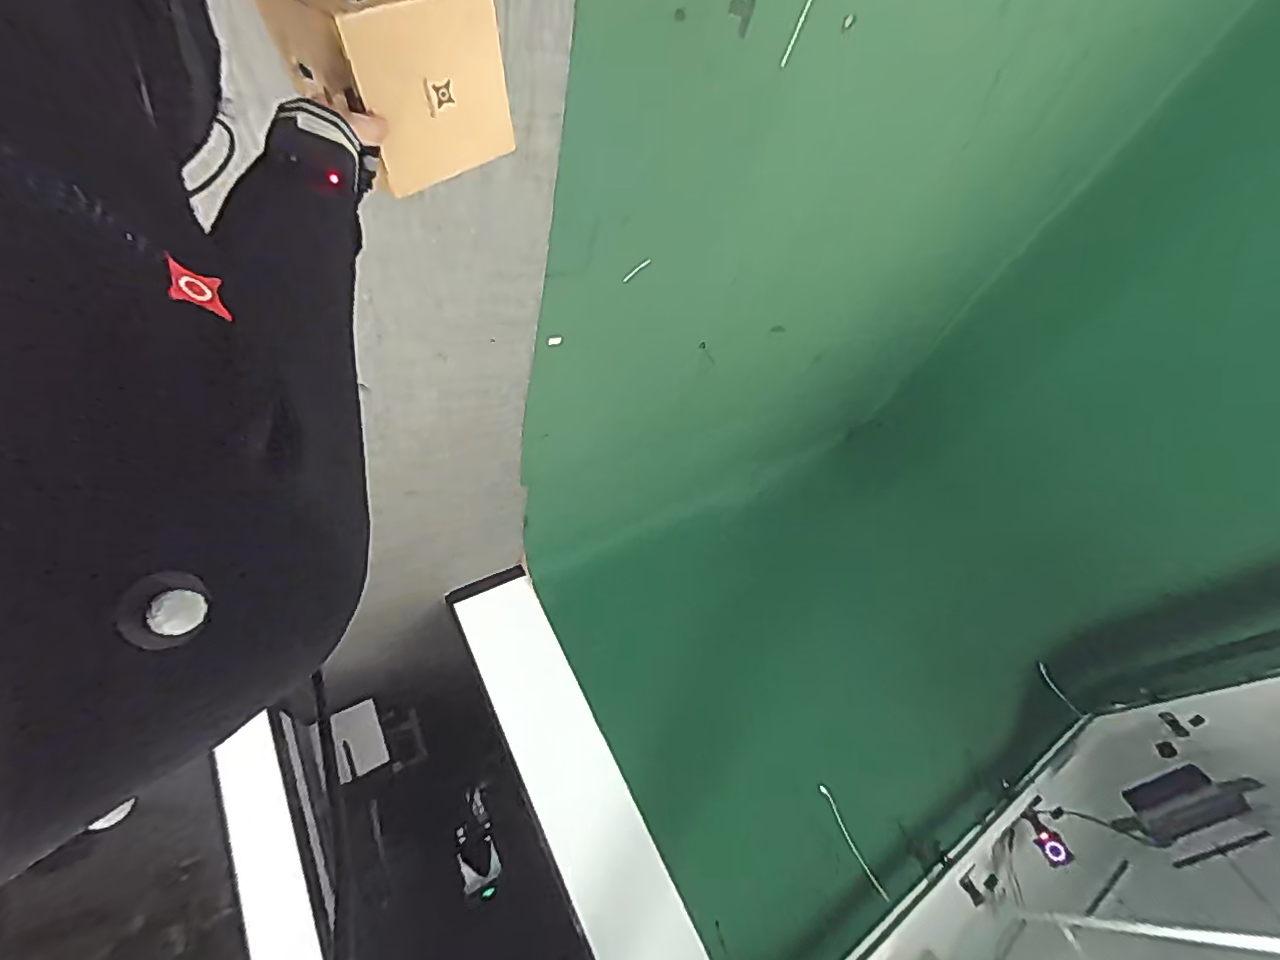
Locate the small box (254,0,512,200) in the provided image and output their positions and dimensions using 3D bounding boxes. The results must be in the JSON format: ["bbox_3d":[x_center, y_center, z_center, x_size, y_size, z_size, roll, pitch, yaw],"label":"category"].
[{"bbox_3d":[-0.271,-0.452,0.594,0.179,0.176,0.168,-41,158,-25],"label":"small box"}]
